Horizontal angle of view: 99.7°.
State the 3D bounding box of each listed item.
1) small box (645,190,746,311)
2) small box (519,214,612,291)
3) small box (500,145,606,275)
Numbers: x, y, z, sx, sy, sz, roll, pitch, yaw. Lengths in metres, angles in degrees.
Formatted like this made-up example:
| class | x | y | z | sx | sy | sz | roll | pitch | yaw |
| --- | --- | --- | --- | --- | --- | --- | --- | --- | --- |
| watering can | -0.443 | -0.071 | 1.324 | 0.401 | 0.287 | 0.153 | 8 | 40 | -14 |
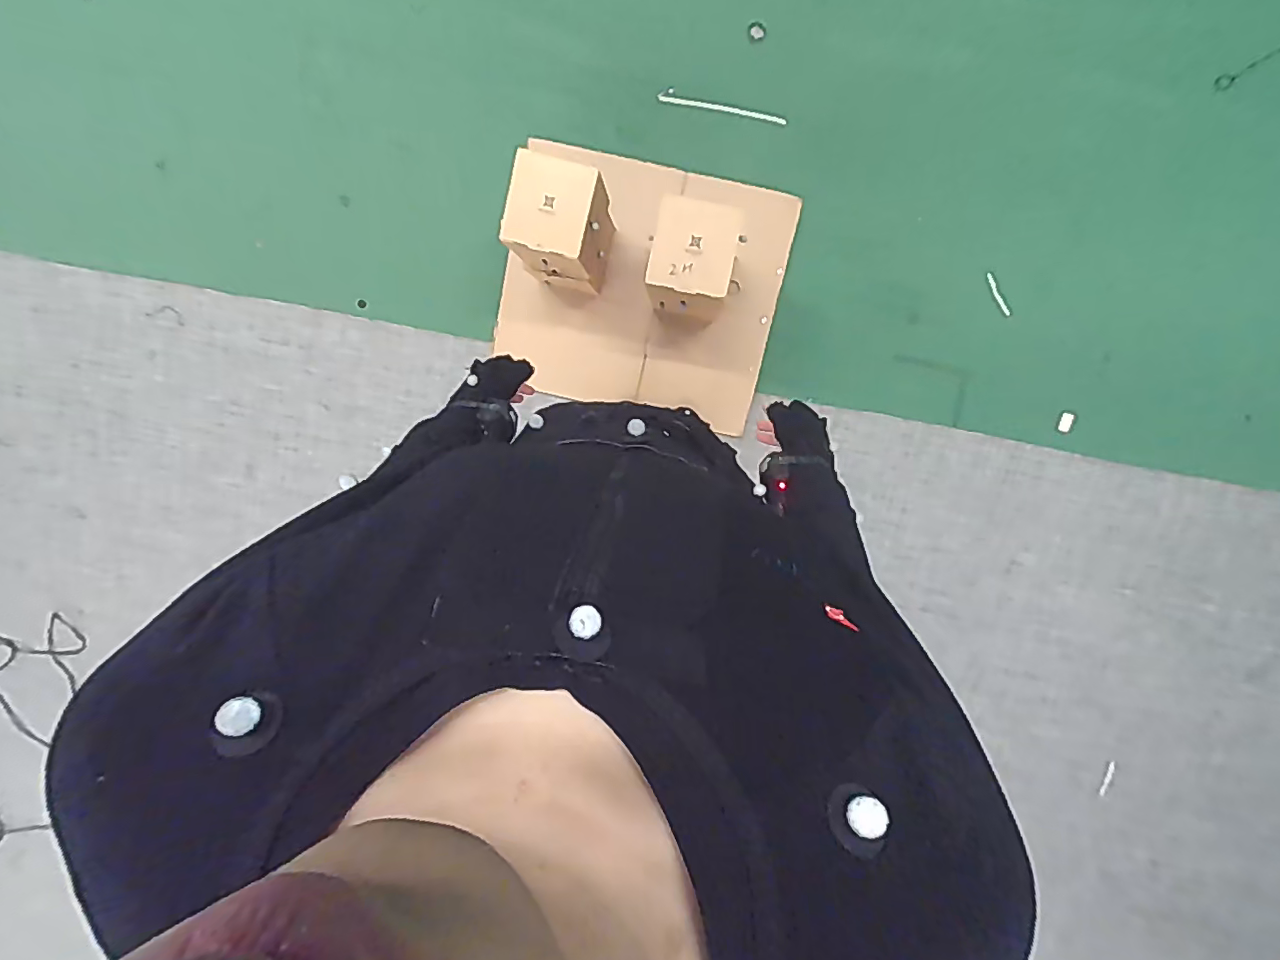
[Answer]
| class | x | y | z | sx | sy | sz | roll | pitch | yaw |
| --- | --- | --- | --- | --- | --- | --- | --- | --- | --- |
| small box | 0.110 | -0.466 | 1.123 | 0.168 | 0.176 | 0.179 | 13 | 99 | 2 |
| small box | -0.170 | -0.566 | 1.289 | 0.168 | 0.176 | 0.179 | 15 | 99 | 2 |
| small box | -0.172 | -0.551 | 1.127 | 0.168 | 0.176 | 0.179 | 16 | 100 | 1 |
